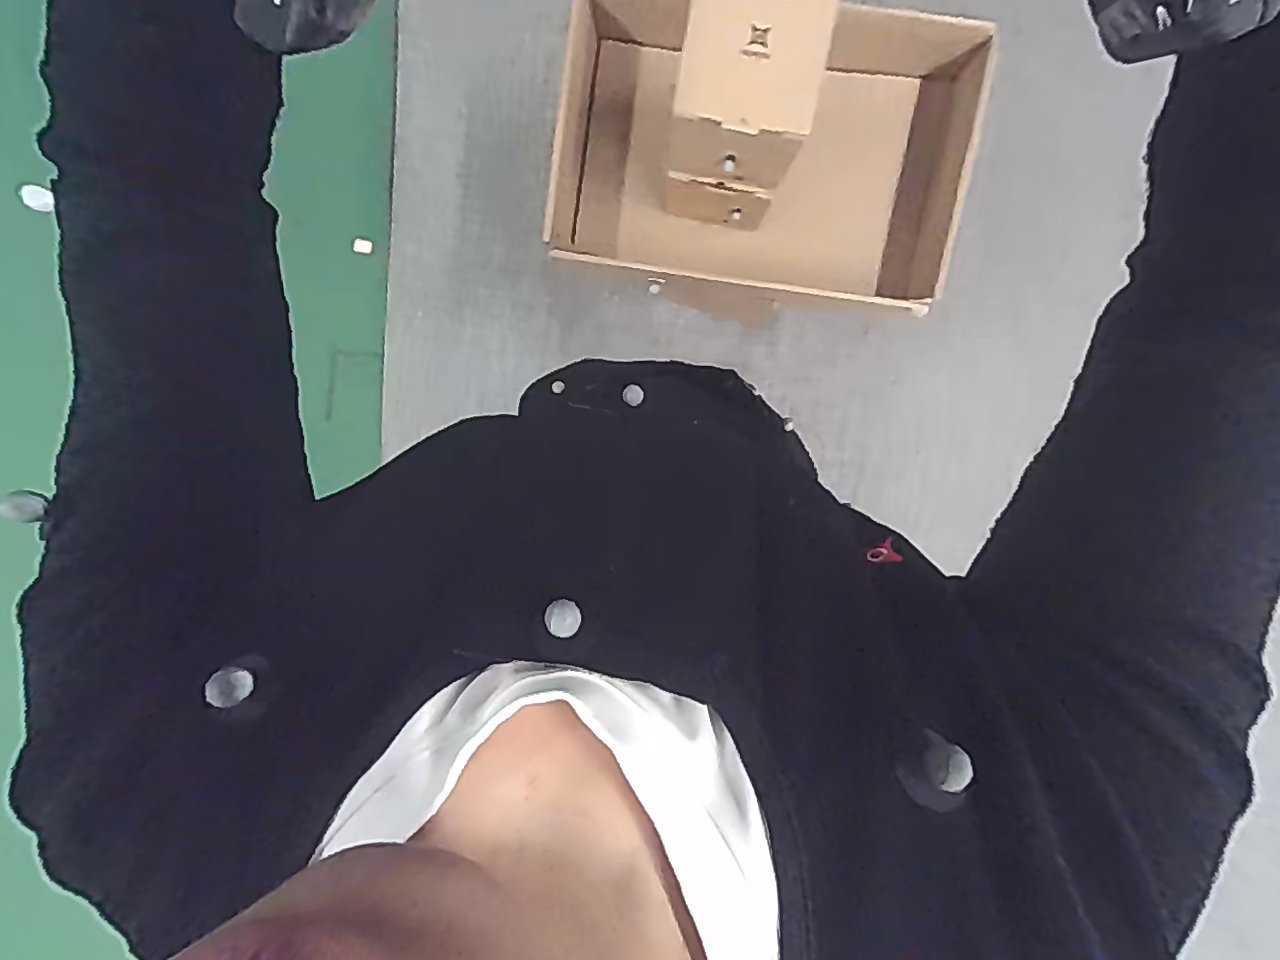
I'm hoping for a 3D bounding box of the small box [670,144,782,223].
[{"bbox_3d":[0.146,-0.533,0.859,0.168,0.176,0.179,12,98,0],"label":"small box"}]

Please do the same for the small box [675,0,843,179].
[{"bbox_3d":[0.142,-0.516,0.696,0.168,0.176,0.179,11,101,0],"label":"small box"}]
